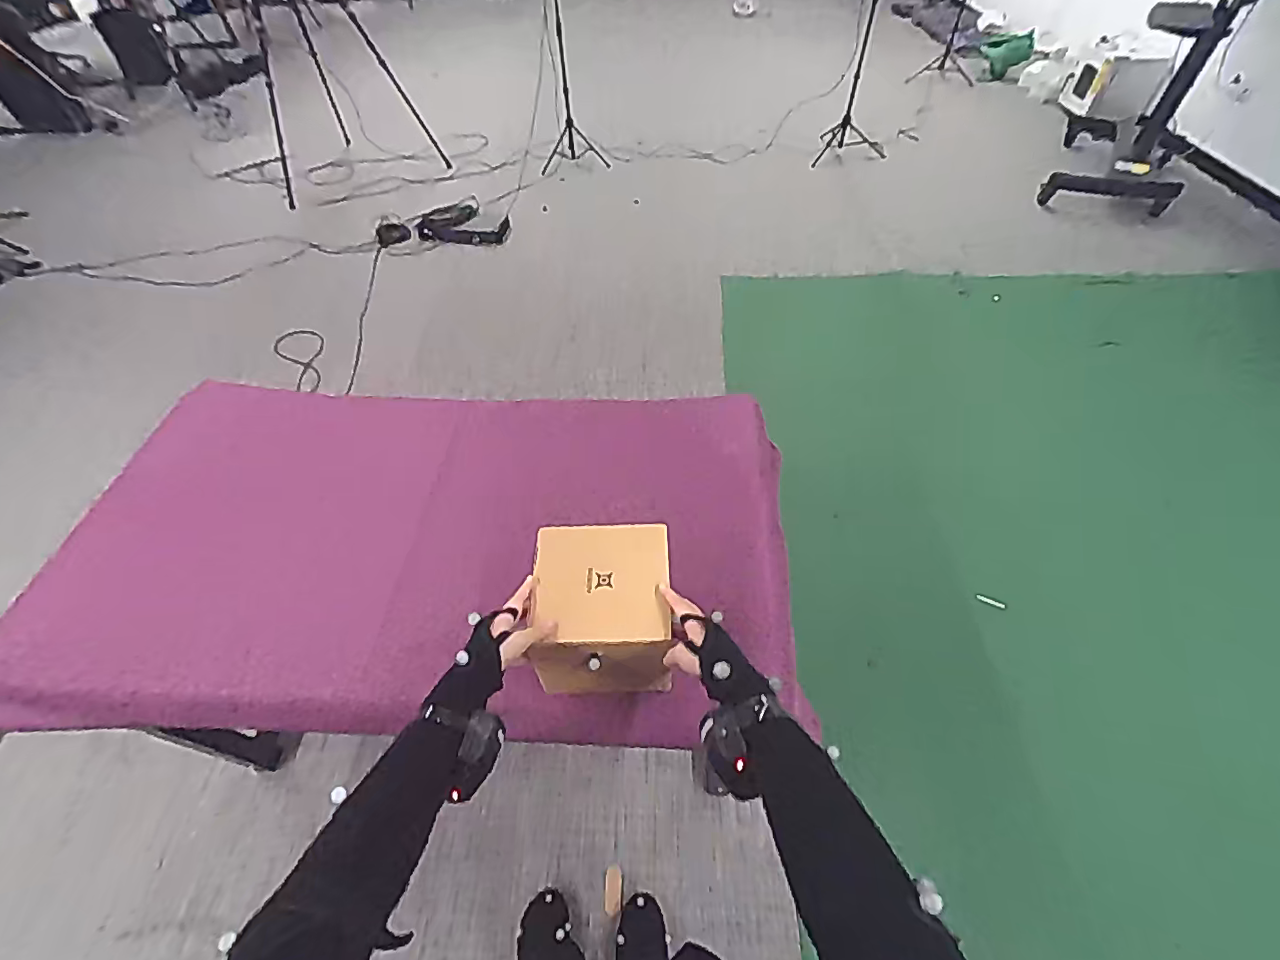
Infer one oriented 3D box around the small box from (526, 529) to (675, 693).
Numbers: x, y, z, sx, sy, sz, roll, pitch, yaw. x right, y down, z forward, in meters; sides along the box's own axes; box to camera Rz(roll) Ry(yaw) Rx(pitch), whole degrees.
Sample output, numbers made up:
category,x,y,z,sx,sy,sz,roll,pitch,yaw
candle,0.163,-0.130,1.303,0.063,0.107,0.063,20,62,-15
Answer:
category,x,y,z,sx,sy,sz,roll,pitch,yaw
small box,-0.044,0.182,0.741,0.179,0.176,0.168,-2,50,2
